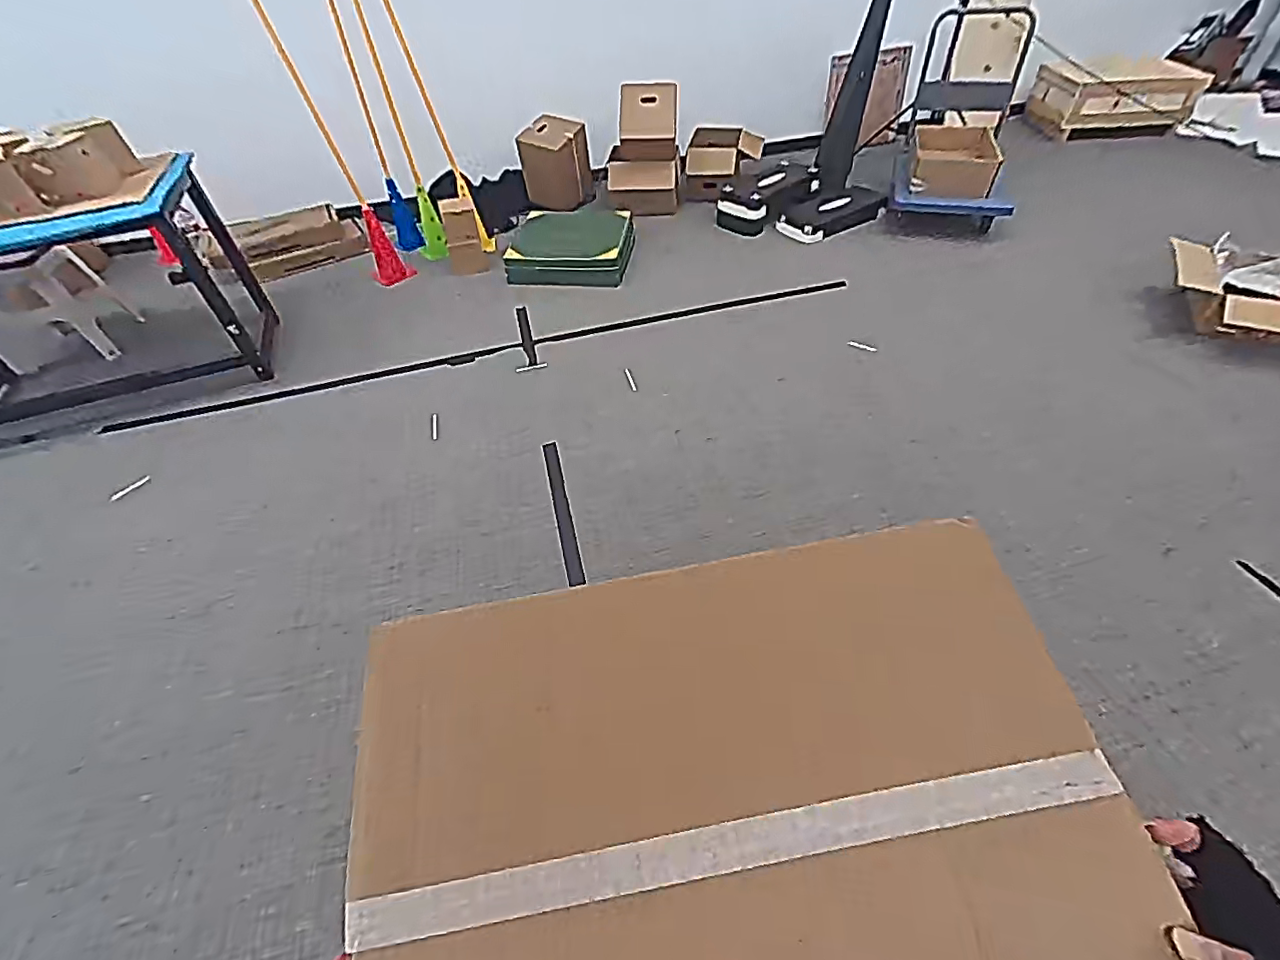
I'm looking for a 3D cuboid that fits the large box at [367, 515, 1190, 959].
[{"bbox_3d":[0.059,0.265,0.423,0.408,0.320,0.320,-10,60,-2],"label":"large box"}]
